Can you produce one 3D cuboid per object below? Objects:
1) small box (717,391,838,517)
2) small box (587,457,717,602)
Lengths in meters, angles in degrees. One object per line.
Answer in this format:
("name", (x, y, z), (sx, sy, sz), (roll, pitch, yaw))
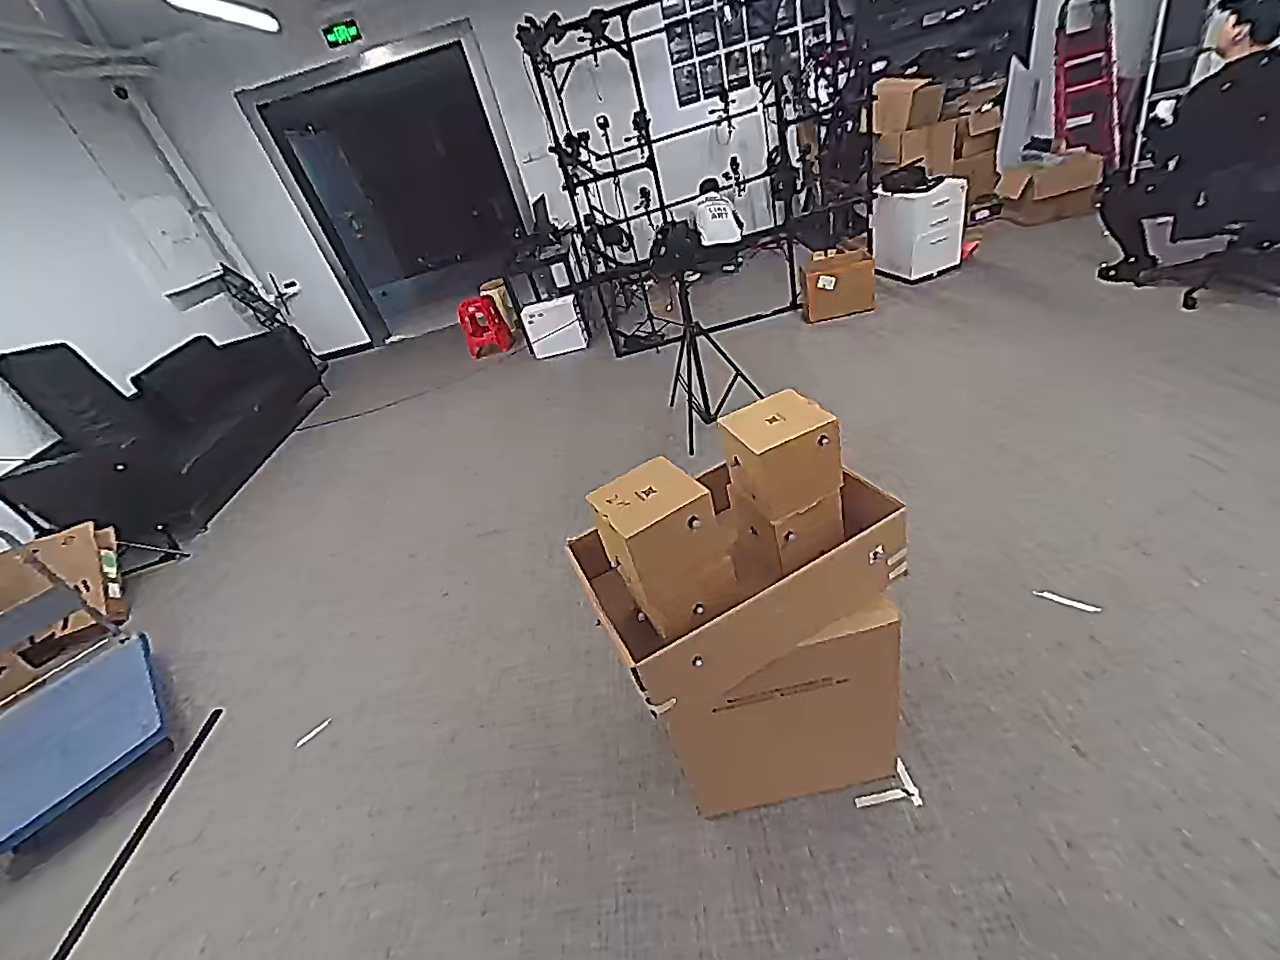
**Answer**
("small box", (0.282, -0.052, 1.102), (0.179, 0.176, 0.168), (-24, 35, -8))
("small box", (0.029, 0.091, 1.013), (0.179, 0.176, 0.168), (-29, 36, -16))
